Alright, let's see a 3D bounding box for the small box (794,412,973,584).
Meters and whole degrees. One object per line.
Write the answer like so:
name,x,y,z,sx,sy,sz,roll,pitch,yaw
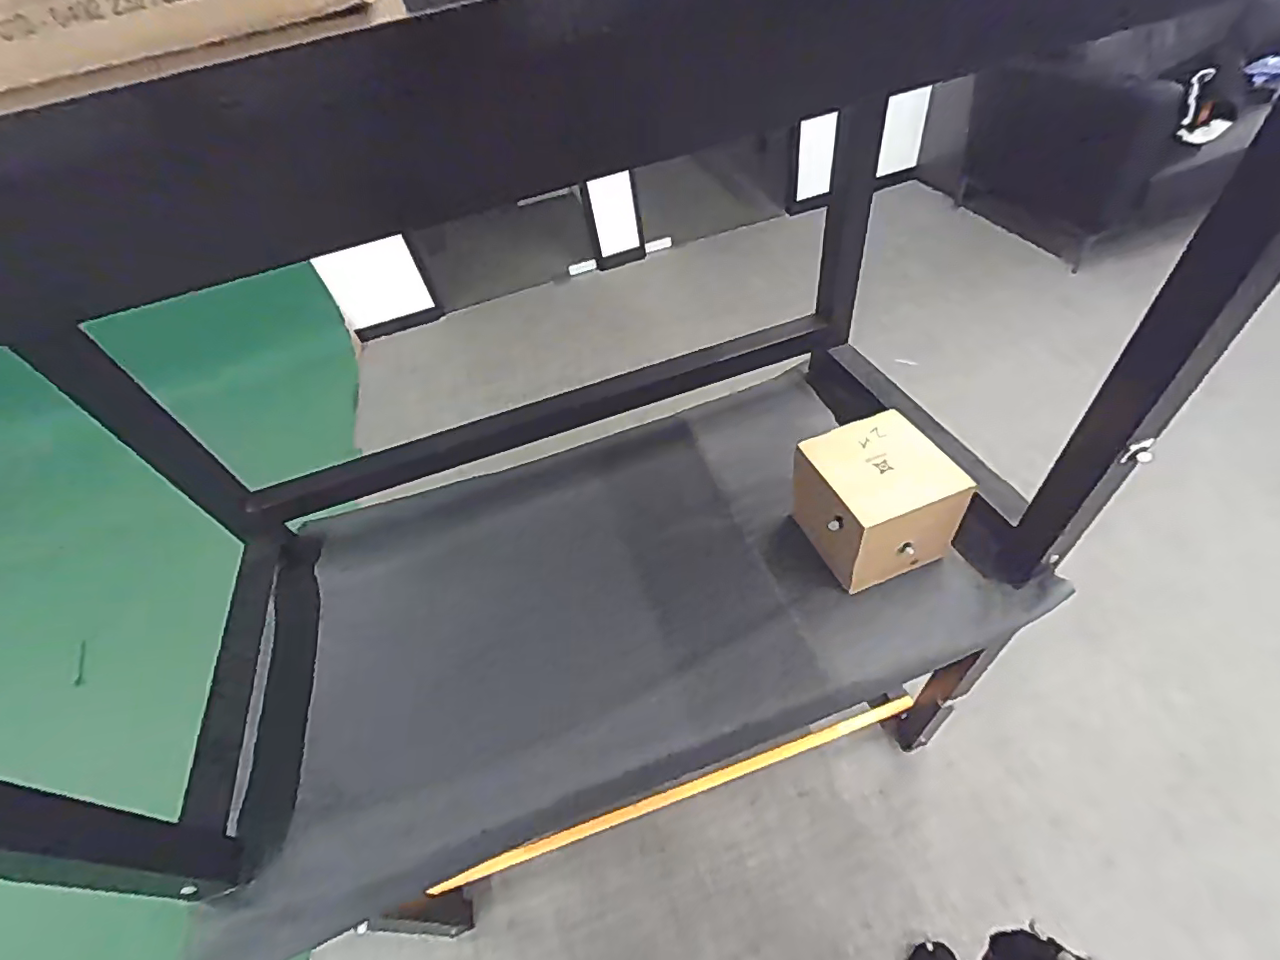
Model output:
small box,0.347,0.034,0.809,0.168,0.176,0.179,-20,47,-6
